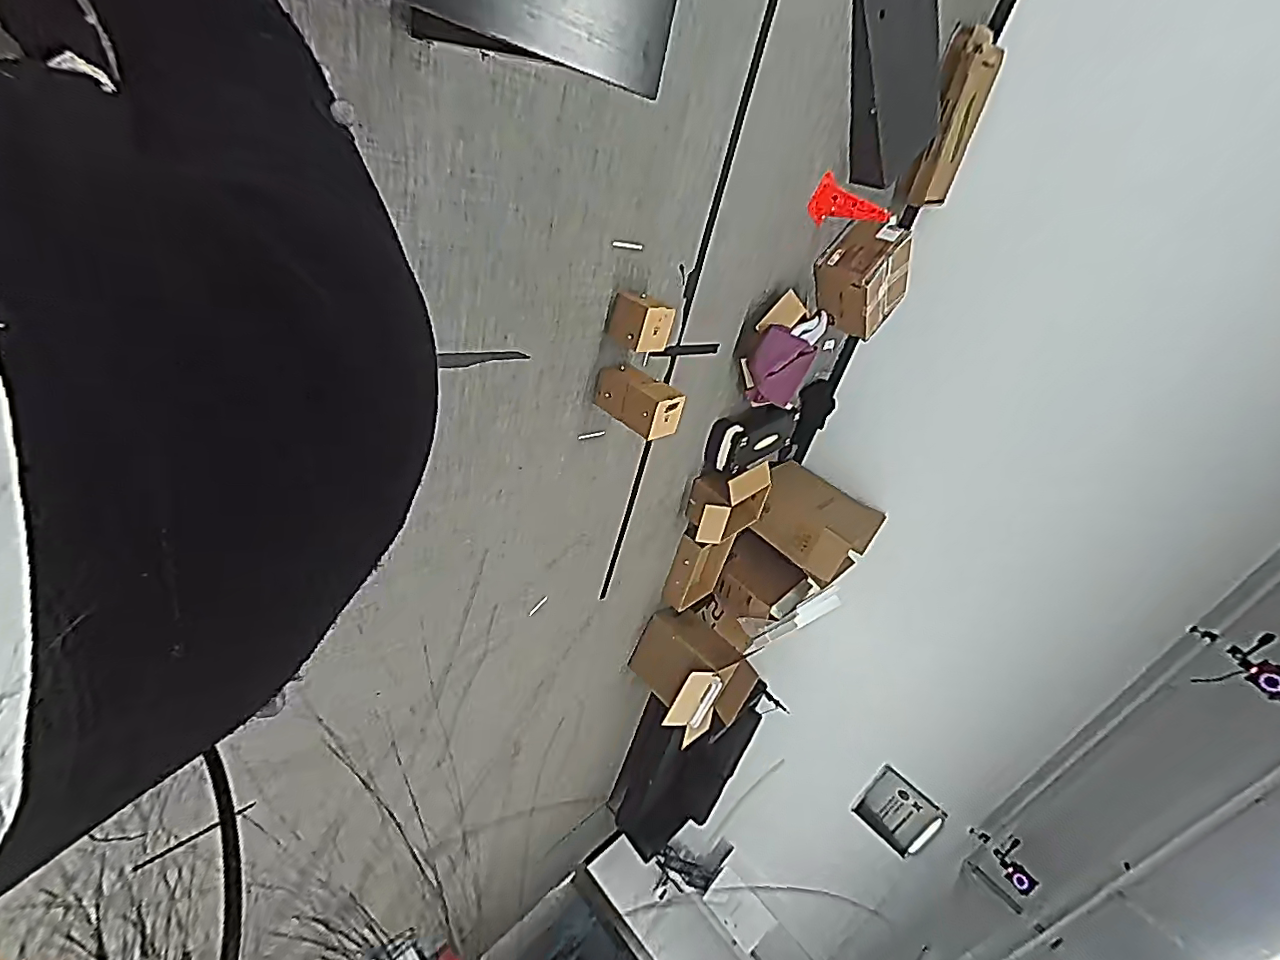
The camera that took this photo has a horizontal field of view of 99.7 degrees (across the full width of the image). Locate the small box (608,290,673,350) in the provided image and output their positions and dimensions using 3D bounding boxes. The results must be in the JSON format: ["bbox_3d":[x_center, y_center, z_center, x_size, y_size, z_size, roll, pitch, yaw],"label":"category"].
[{"bbox_3d":[-0.003,-0.622,2.102,0.168,0.176,0.179,-16,133,-45],"label":"small box"}]

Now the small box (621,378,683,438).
[{"bbox_3d":[0.043,-0.298,2.171,0.168,0.176,0.179,-20,137,-42],"label":"small box"}]

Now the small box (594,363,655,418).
[{"bbox_3d":[-0.070,-0.378,2.262,0.179,0.176,0.168,-19,136,-42],"label":"small box"}]
